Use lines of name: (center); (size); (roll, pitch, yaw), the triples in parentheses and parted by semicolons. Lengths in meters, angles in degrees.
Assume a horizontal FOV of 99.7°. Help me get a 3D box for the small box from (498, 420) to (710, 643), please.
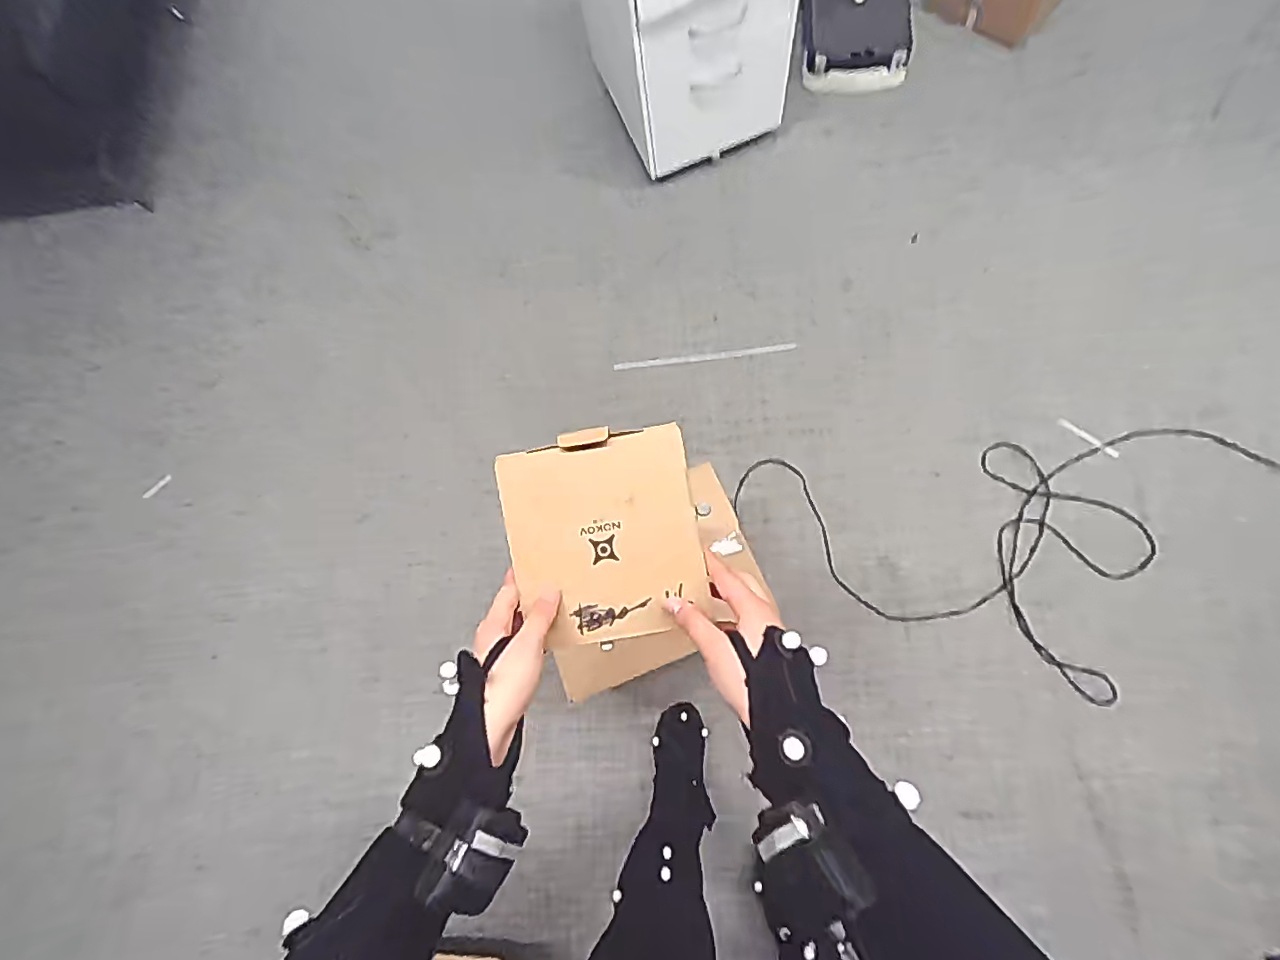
small box: (-0.028, 0.046, 0.555); (0.168, 0.176, 0.179); (-11, 91, 5)
